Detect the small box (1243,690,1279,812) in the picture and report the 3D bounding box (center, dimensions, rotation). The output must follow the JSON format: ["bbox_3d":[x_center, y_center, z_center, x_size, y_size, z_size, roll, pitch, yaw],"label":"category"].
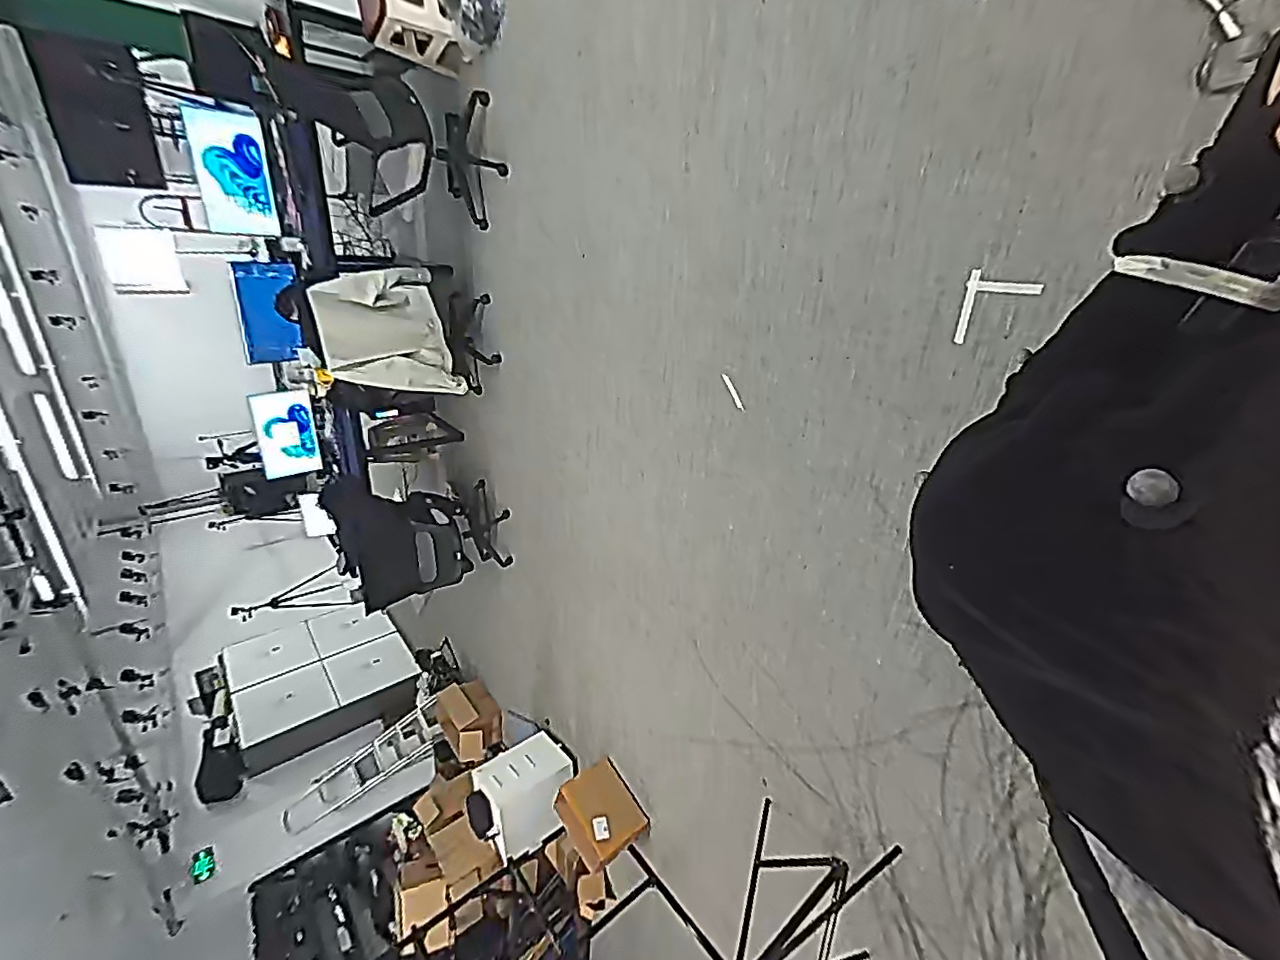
[{"bbox_3d":[1.250,0.516,0.985,0.179,0.176,0.168,13,113,47],"label":"small box"}]
